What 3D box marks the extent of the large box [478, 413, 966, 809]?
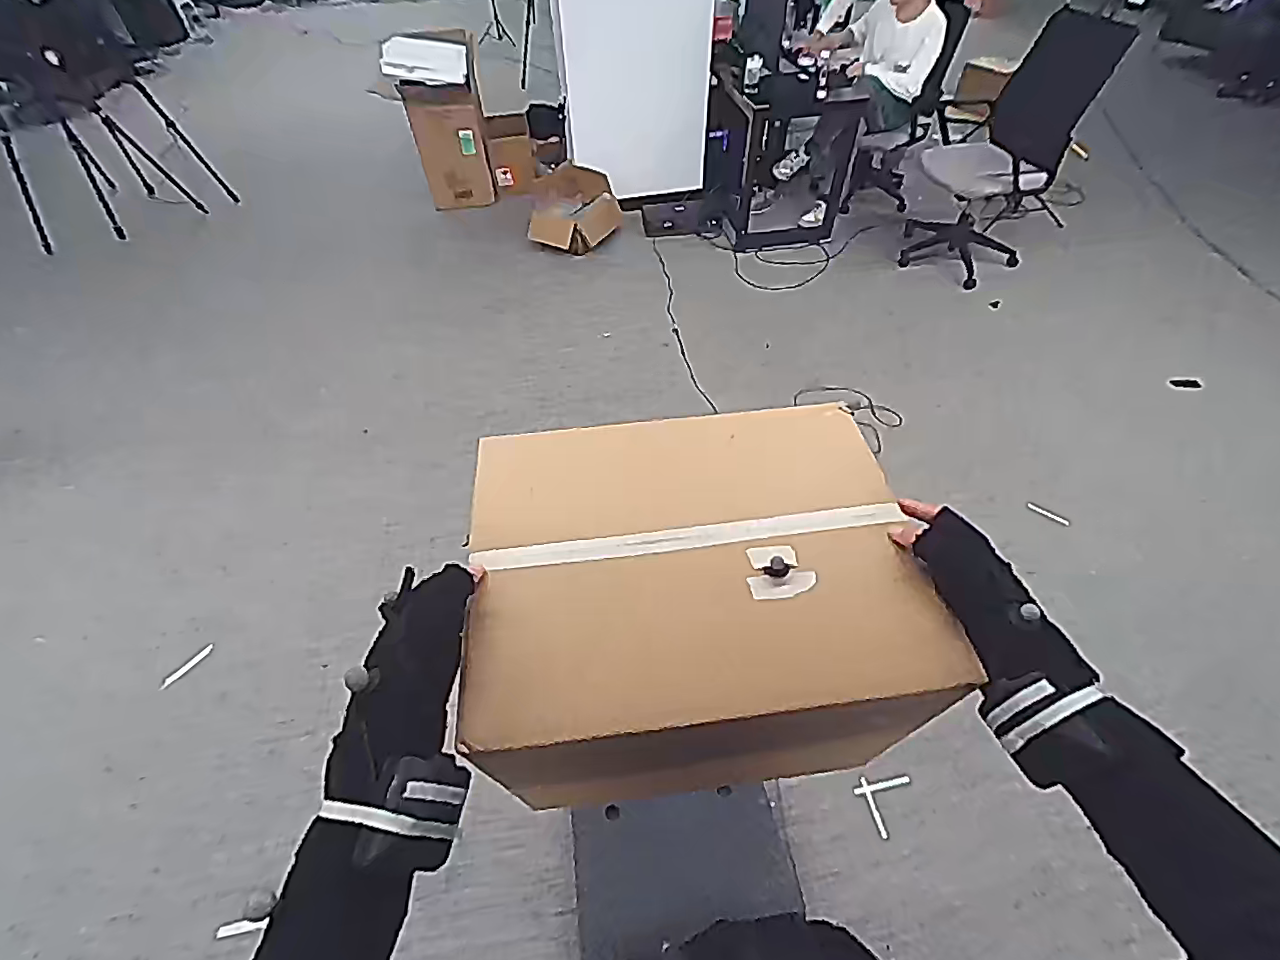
[{"bbox_3d":[0.052,0.156,0.630,0.408,0.320,0.320,-6,52,-4],"label":"large box"}]
